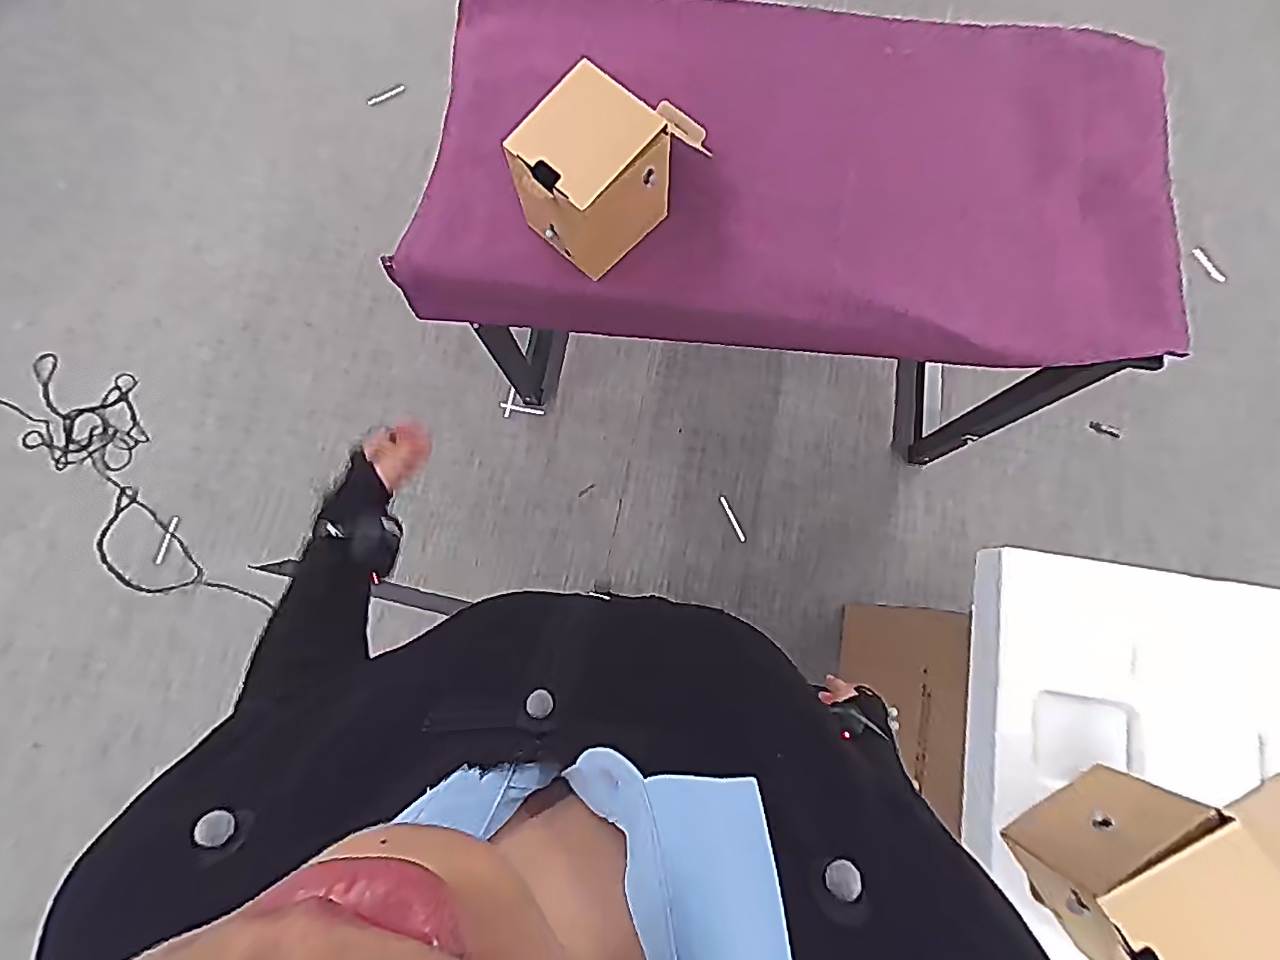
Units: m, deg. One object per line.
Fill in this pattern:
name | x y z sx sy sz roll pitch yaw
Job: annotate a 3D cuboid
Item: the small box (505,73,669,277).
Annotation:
small box | -0.075 -0.460 0.836 0.168 0.176 0.179 43 82 10
